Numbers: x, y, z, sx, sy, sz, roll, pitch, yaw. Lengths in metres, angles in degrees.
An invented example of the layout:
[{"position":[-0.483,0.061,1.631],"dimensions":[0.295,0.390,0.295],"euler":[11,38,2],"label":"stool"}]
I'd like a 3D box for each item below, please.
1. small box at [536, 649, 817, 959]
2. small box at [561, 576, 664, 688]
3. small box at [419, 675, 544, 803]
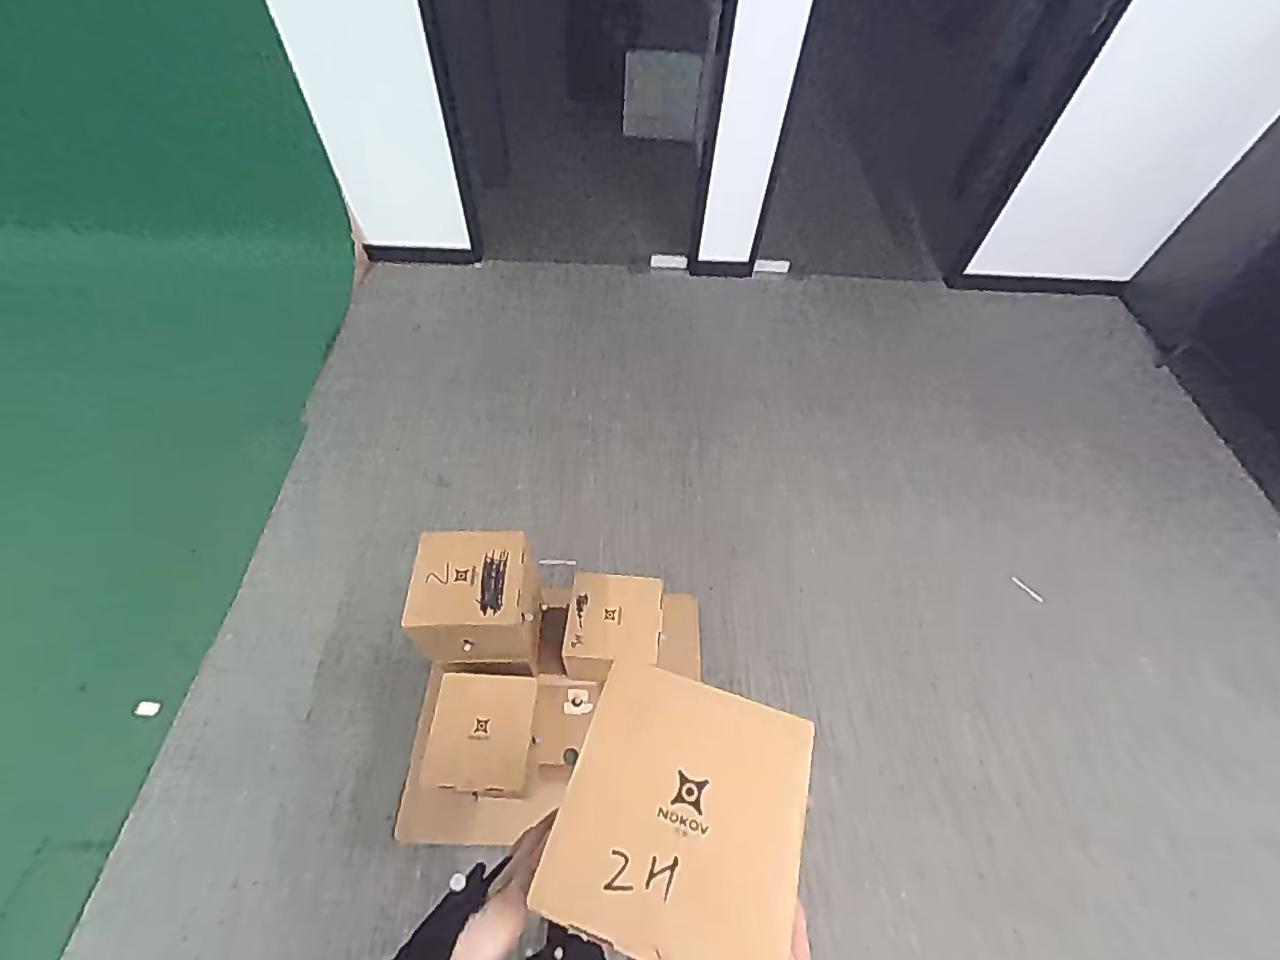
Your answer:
[{"position":[0.029,0.275,0.441],"dimensions":[0.168,0.176,0.179],"euler":[17,50,9],"label":"small box"},{"position":[-0.049,0.307,1.069],"dimensions":[0.179,0.176,0.168],"euler":[5,55,2],"label":"small box"},{"position":[-0.264,0.458,0.950],"dimensions":[0.168,0.176,0.179],"euler":[4,57,-2],"label":"small box"}]
